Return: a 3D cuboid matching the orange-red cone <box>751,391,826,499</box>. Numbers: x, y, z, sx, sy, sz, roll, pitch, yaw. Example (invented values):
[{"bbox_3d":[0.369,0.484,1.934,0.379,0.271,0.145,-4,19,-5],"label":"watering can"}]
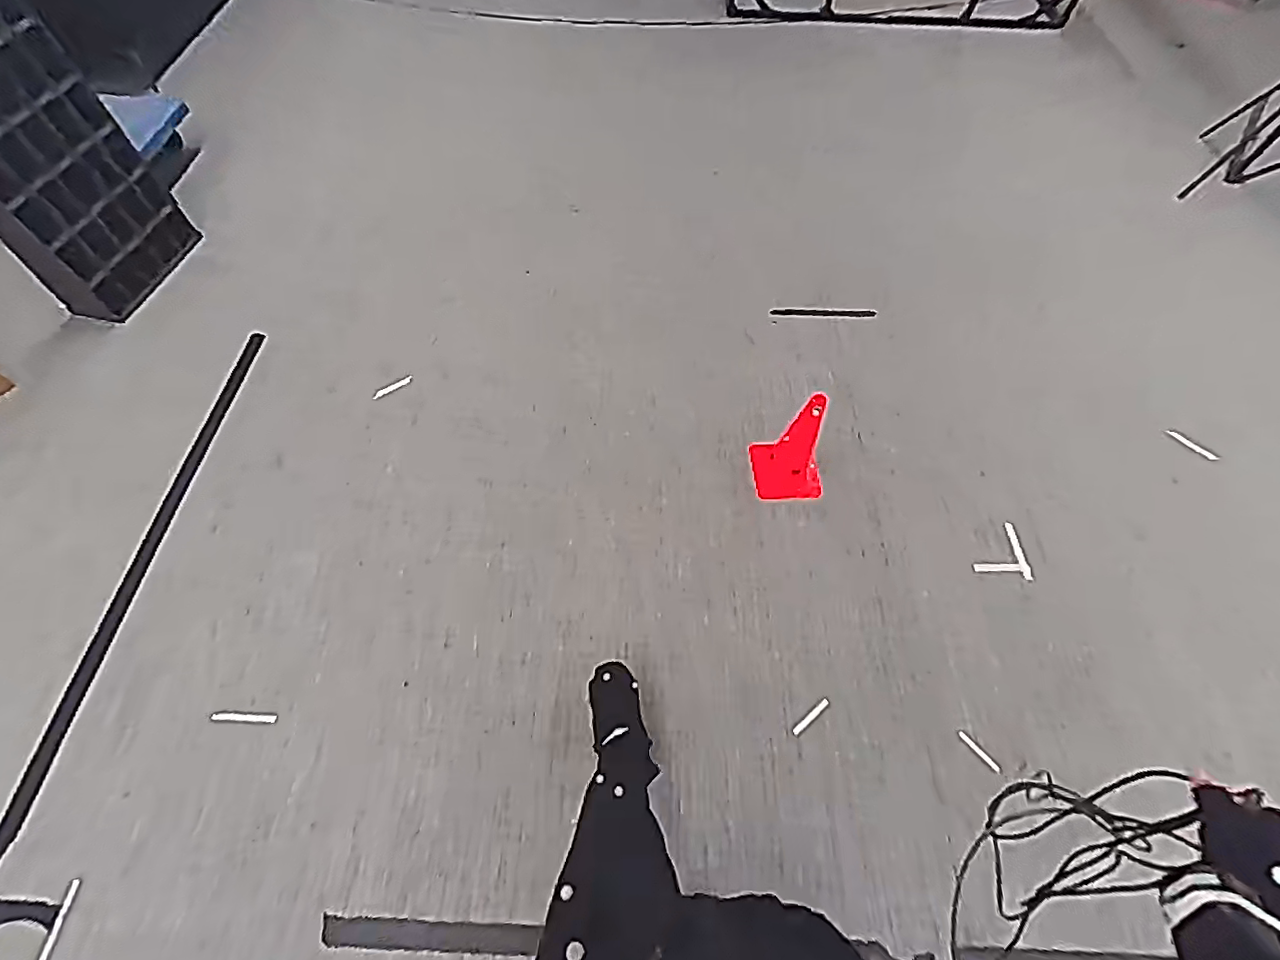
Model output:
[{"bbox_3d":[0.445,-0.118,1.499,0.199,0.360,0.198,-3,59,-1],"label":"orange-red cone"}]
